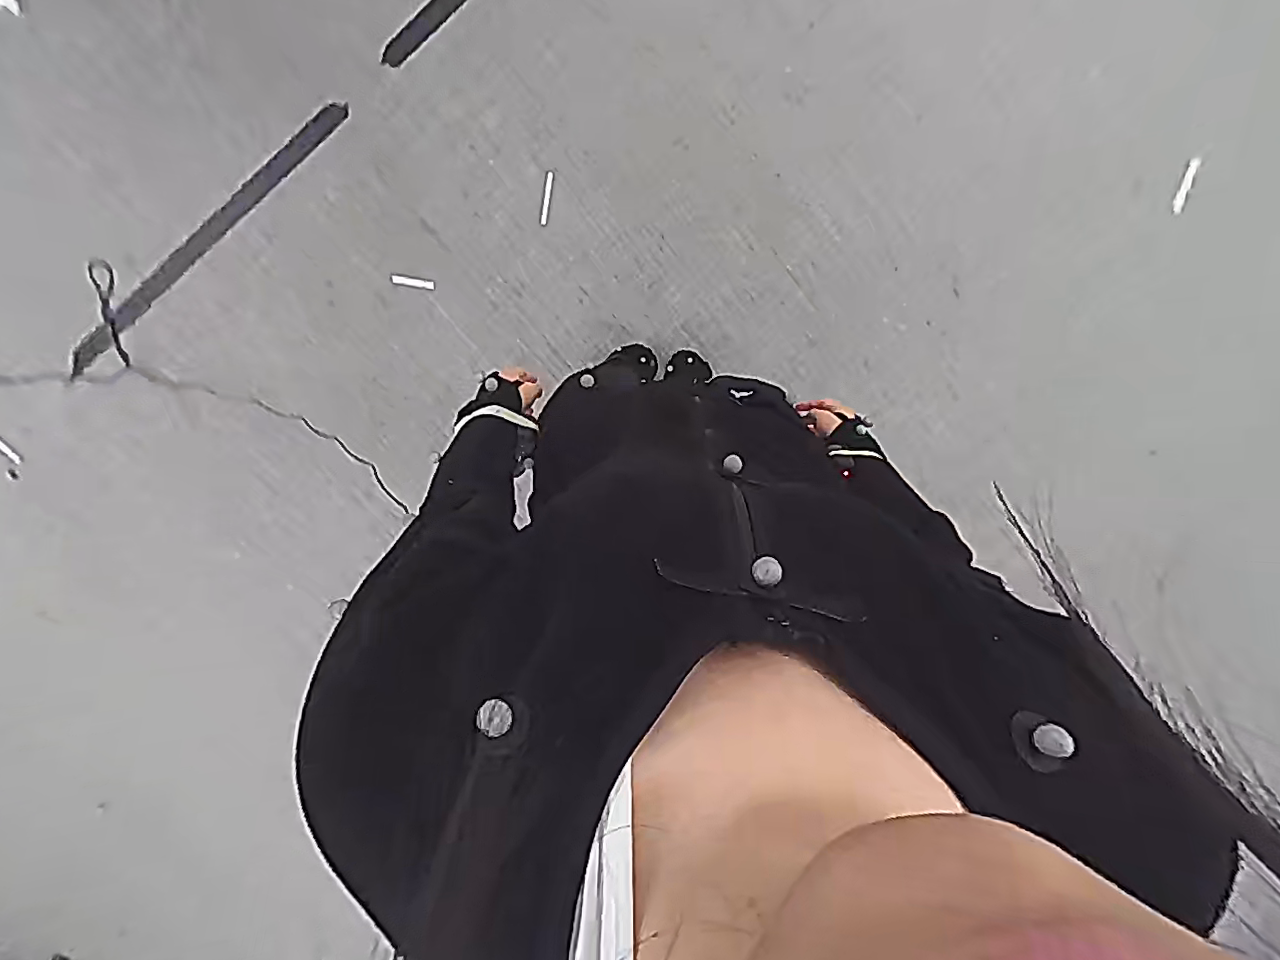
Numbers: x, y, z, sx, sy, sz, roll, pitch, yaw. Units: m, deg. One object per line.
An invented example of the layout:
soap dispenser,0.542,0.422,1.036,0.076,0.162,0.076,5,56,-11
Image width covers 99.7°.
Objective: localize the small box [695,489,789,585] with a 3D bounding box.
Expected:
small box,0.265,0.143,1.460,0.168,0.176,0.179,-41,102,10
